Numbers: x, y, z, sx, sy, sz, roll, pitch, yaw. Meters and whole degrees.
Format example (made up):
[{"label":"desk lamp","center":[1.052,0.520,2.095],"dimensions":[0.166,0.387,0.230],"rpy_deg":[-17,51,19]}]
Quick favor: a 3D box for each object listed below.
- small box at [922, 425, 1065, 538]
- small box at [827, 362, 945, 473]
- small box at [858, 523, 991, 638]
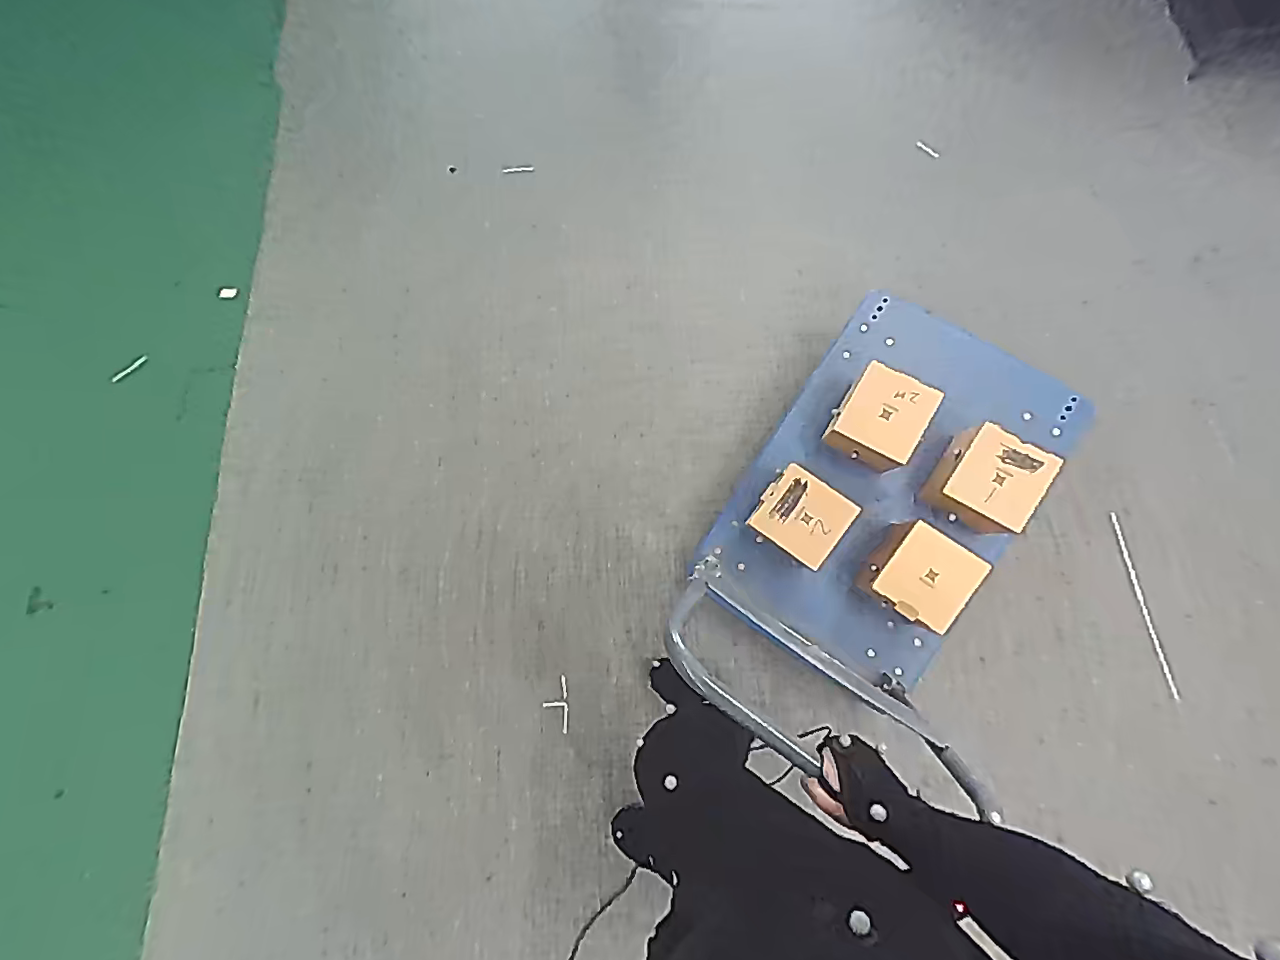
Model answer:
[{"label":"small box","center":[0.747,0.009,1.168],"dimensions":[0.168,0.176,0.179],"rpy_deg":[33,91,12]},{"label":"small box","center":[0.540,-0.131,1.217],"dimensions":[0.168,0.176,0.179],"rpy_deg":[30,89,11]},{"label":"small box","center":[0.600,0.209,1.171],"dimensions":[0.168,0.176,0.179],"rpy_deg":[36,91,11]}]
